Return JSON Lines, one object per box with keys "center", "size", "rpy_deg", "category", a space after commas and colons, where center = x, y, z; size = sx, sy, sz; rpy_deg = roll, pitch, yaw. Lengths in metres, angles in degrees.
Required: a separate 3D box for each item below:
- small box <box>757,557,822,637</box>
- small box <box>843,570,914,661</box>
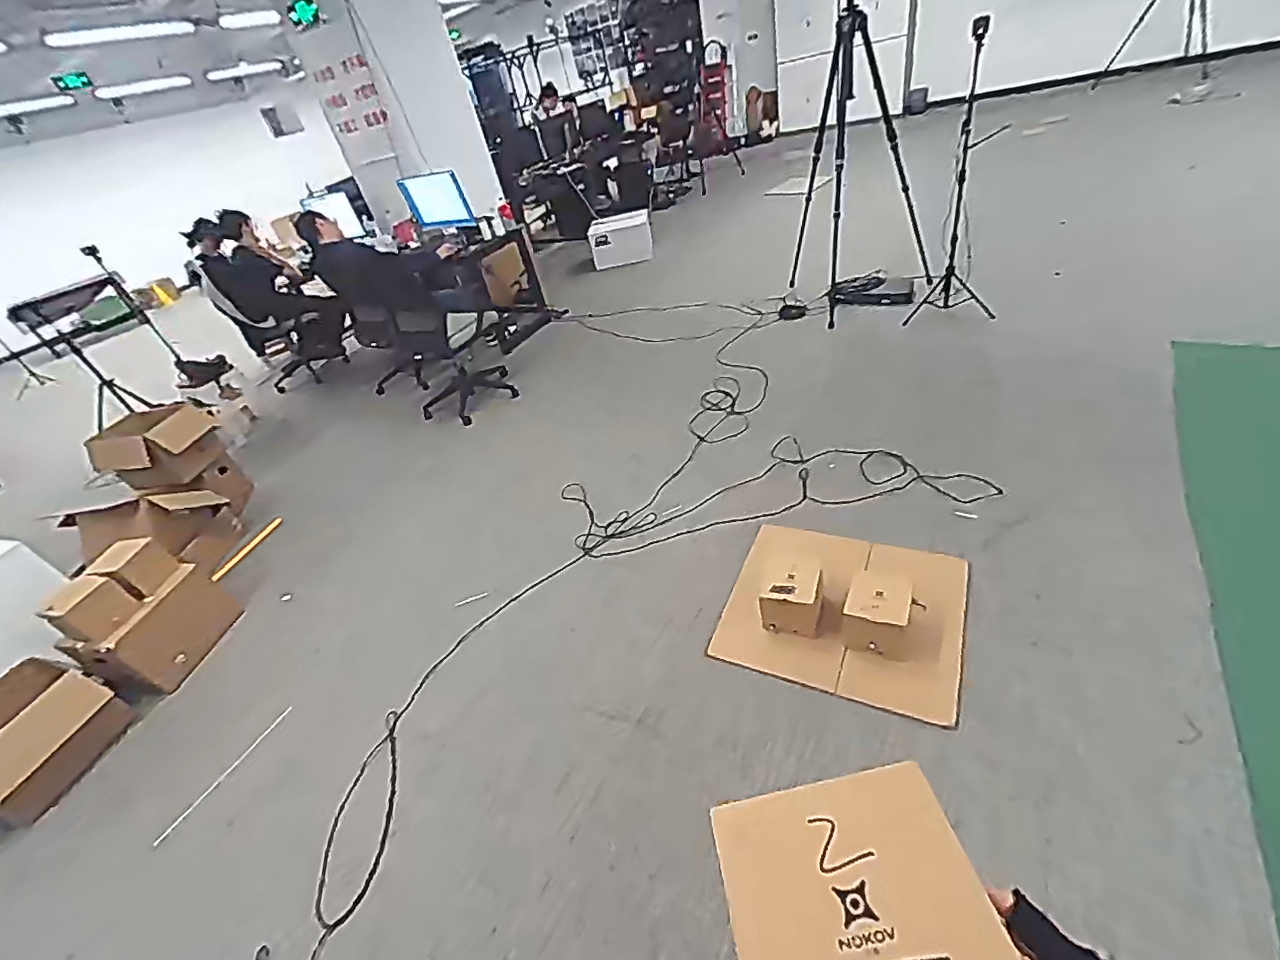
{"center": [0.480, 0.371, 1.709], "size": [0.168, 0.176, 0.179], "rpy_deg": [4, 41, 26], "category": "small box"}
{"center": [0.702, 0.399, 1.594], "size": [0.168, 0.176, 0.179], "rpy_deg": [7, 43, 30], "category": "small box"}
